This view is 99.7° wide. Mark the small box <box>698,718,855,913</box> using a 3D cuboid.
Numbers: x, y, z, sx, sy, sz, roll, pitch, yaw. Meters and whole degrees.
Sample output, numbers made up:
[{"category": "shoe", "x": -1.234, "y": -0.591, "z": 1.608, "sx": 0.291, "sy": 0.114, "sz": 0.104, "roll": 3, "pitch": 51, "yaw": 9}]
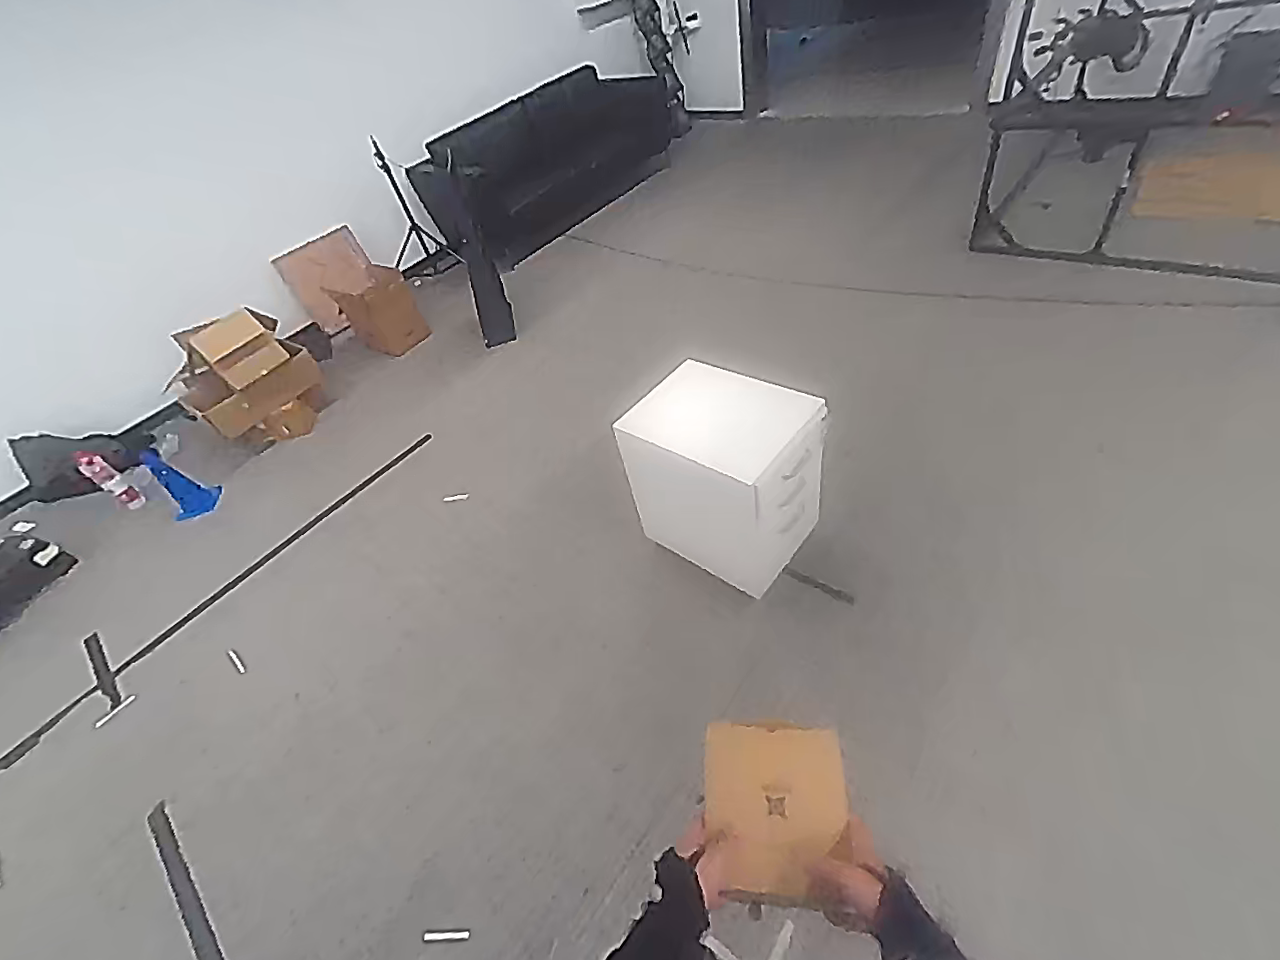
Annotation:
[{"category": "small box", "x": 0.160, "y": 0.428, "z": 0.690, "sx": 0.168, "sy": 0.176, "sz": 0.179, "roll": 1, "pitch": 49, "yaw": 8}]
